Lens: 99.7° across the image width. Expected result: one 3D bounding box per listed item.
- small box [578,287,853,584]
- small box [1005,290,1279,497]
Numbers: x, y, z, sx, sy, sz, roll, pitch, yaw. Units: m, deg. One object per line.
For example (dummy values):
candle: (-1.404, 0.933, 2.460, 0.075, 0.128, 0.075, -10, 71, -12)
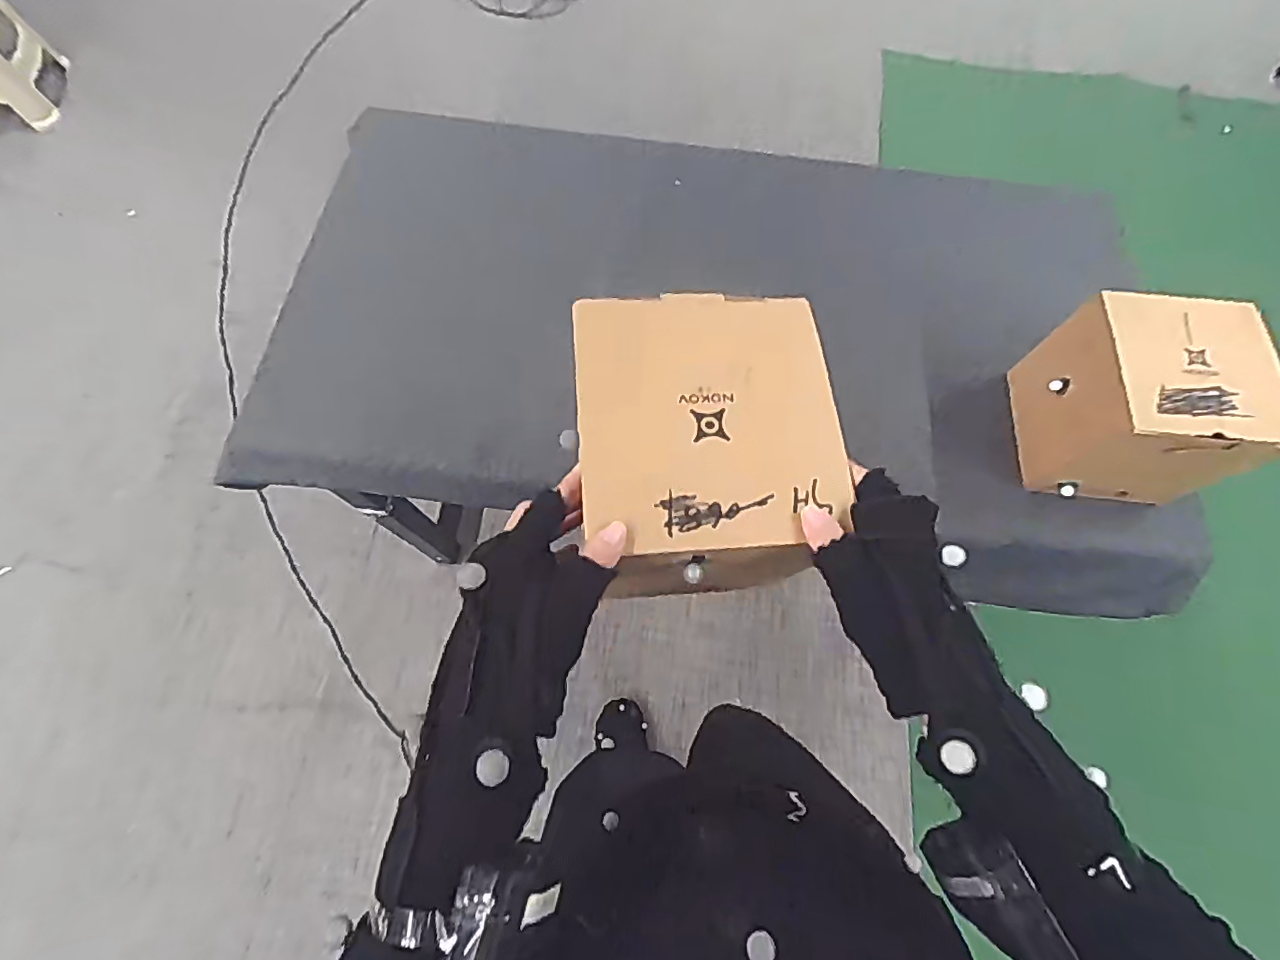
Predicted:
small box: (0.035, -0.024, 0.421, 0.168, 0.176, 0.179, -2, 69, -6)
small box: (0.568, -0.091, 0.636, 0.168, 0.176, 0.179, 7, 68, 2)
